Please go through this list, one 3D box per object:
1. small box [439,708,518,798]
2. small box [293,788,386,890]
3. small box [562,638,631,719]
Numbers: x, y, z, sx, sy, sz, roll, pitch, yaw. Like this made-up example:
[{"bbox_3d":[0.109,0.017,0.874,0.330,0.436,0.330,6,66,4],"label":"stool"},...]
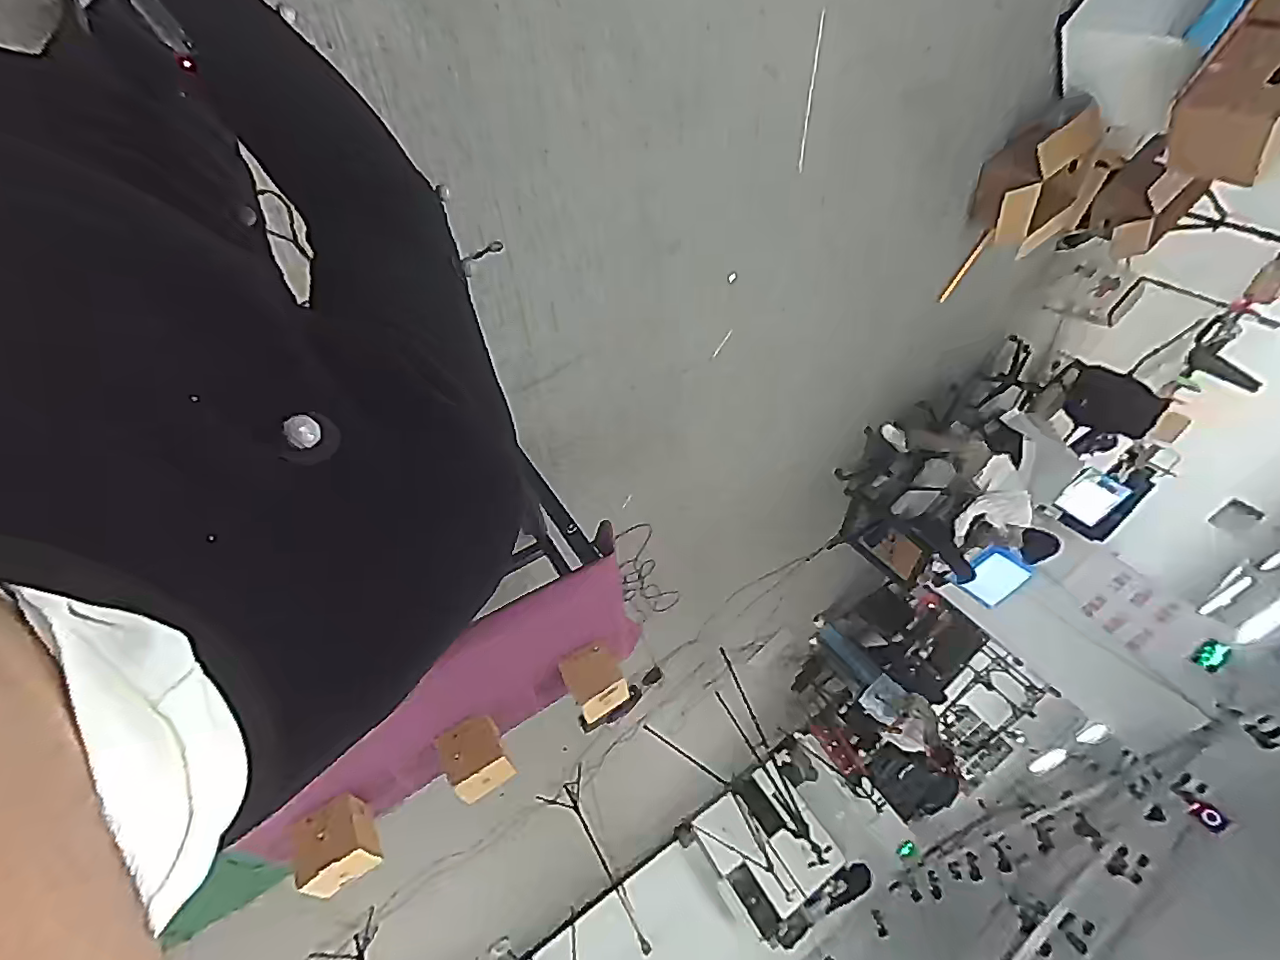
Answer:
[{"bbox_3d":[-0.505,0.846,1.687,0.168,0.176,0.179,-27,141,-19],"label":"small box"},{"bbox_3d":[-0.855,1.014,1.537,0.168,0.176,0.179,-26,140,-20],"label":"small box"},{"bbox_3d":[-0.147,0.662,1.821,0.168,0.176,0.179,-27,141,-18],"label":"small box"}]
